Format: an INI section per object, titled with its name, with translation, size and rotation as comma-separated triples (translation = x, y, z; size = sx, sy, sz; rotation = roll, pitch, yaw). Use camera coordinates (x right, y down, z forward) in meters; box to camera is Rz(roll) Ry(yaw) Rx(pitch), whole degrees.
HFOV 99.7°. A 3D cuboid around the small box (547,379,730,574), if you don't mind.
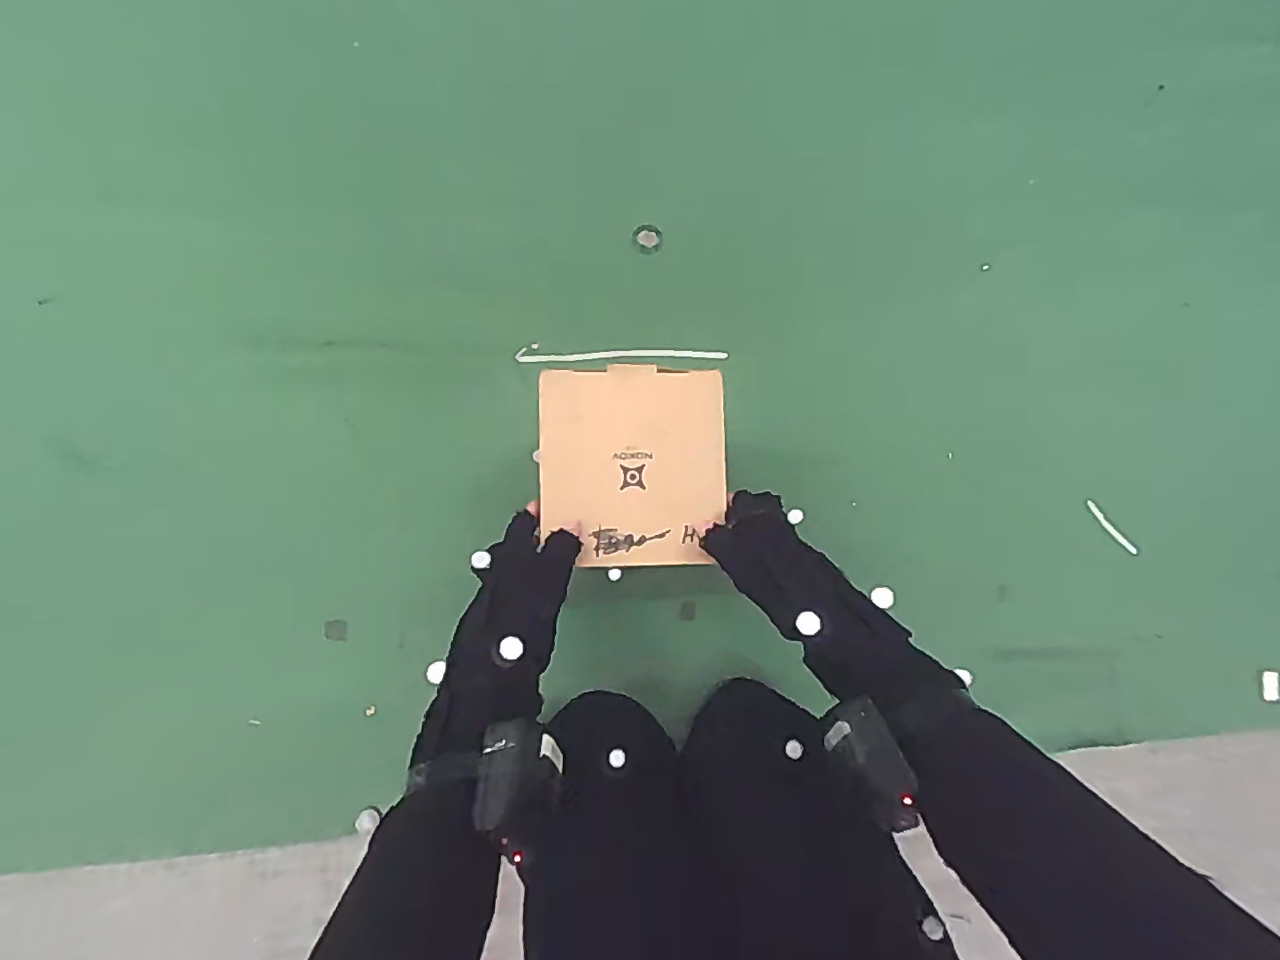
[small box]
translation = -0.008, 0.003, 0.563
size = 0.168, 0.176, 0.179
rotation = -1, 85, -4
